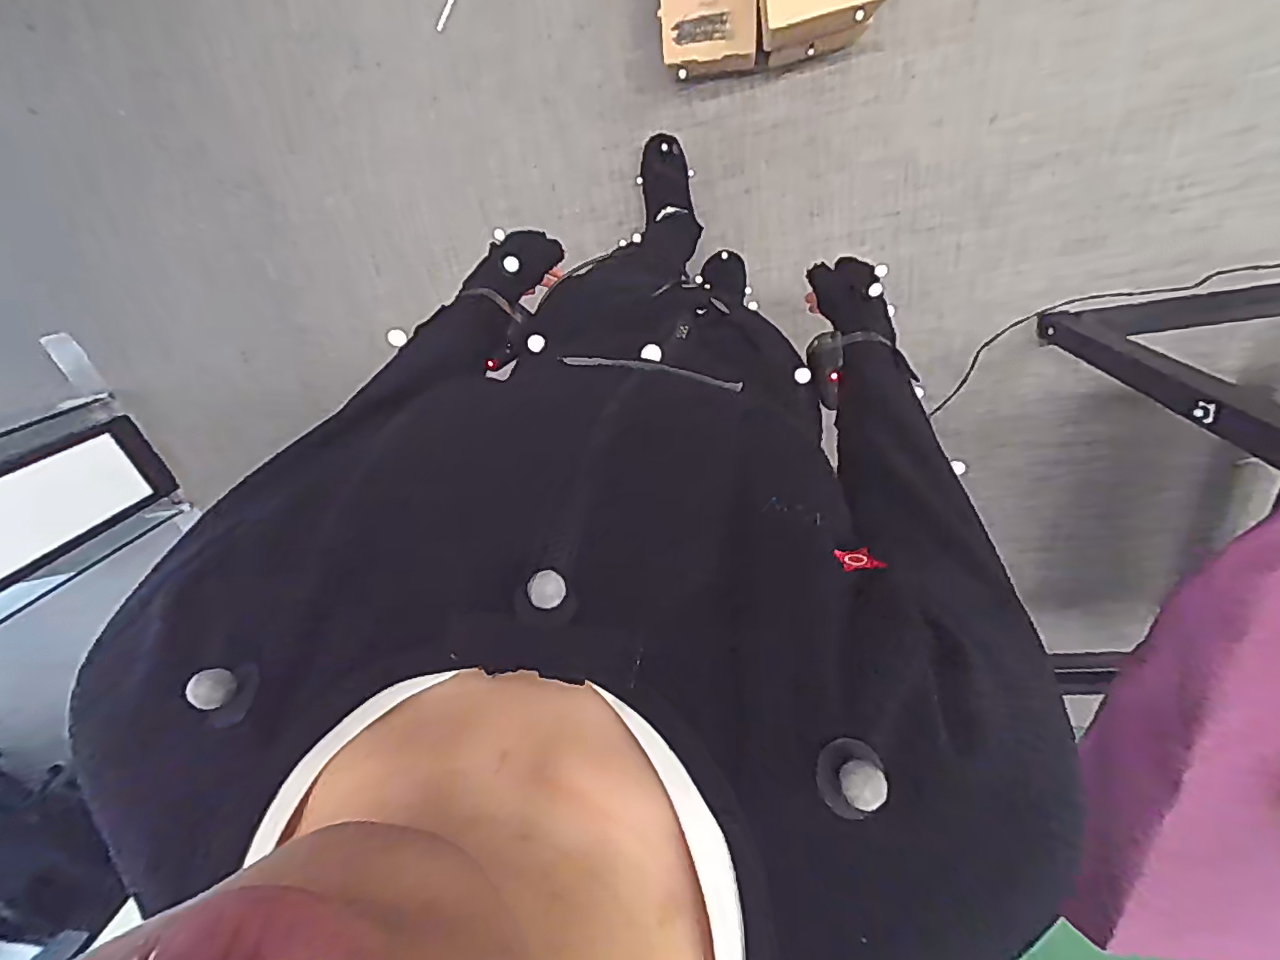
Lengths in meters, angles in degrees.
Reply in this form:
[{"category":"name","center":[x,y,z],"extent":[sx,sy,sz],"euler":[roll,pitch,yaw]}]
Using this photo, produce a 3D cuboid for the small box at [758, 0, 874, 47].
[{"category":"small box","center":[0.267,-0.794,0.822],"extent":[0.179,0.176,0.168],"euler":[-7,118,13]}]
